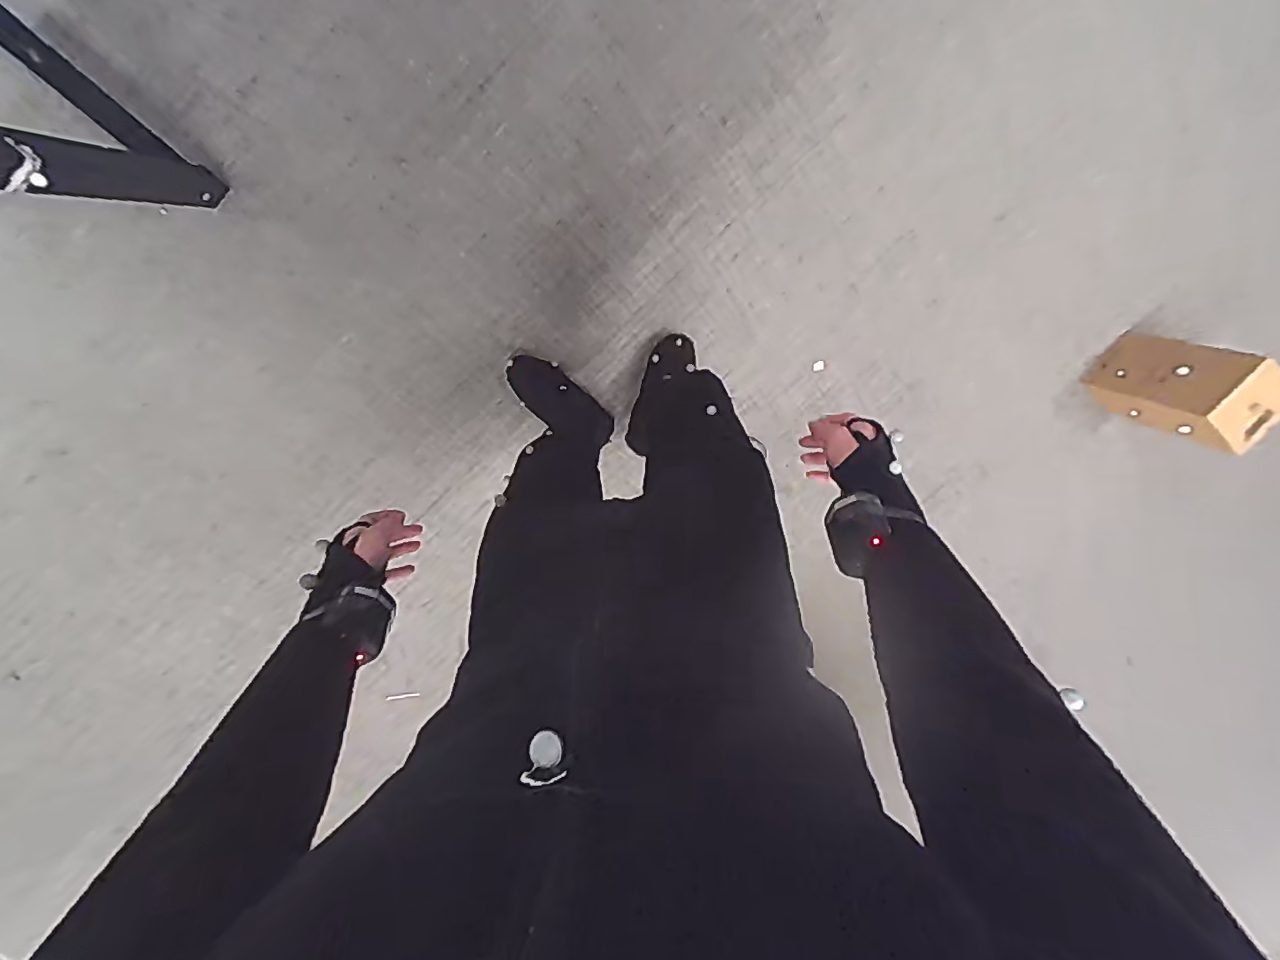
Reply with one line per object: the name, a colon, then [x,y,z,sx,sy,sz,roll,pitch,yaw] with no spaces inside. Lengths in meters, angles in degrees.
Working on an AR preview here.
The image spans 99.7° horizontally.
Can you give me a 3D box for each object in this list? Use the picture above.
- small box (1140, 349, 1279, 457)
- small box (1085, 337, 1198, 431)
small box: [1.347,-0.187,1.262,0.179,0.176,0.168,31,106,-19]
small box: [1.329,-0.256,1.411,0.179,0.176,0.168,29,107,-21]
